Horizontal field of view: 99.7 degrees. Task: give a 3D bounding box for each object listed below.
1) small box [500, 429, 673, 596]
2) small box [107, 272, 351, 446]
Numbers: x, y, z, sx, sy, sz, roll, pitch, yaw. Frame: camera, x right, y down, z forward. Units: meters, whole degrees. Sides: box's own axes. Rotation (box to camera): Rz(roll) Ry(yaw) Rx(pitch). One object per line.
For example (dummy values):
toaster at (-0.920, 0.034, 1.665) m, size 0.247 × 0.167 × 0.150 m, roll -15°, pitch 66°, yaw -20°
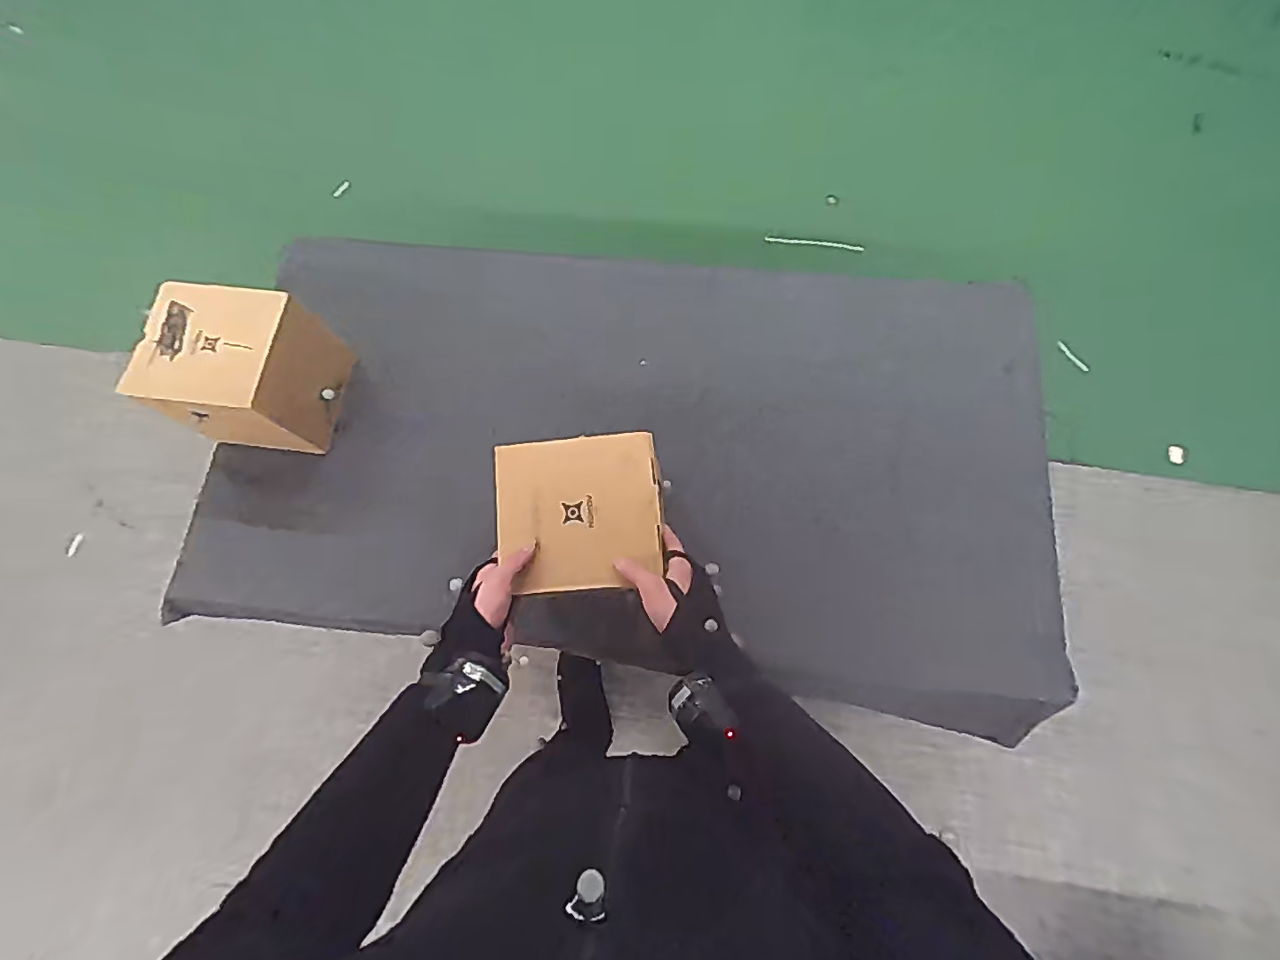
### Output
small box at (-0.054, 0.048, 0.642) m, size 0.179 × 0.176 × 0.168 m, roll -6°, pitch 77°, yaw 4°
small box at (-0.536, -0.154, 0.735) m, size 0.179 × 0.176 × 0.168 m, roll 7°, pitch 75°, yaw 2°
